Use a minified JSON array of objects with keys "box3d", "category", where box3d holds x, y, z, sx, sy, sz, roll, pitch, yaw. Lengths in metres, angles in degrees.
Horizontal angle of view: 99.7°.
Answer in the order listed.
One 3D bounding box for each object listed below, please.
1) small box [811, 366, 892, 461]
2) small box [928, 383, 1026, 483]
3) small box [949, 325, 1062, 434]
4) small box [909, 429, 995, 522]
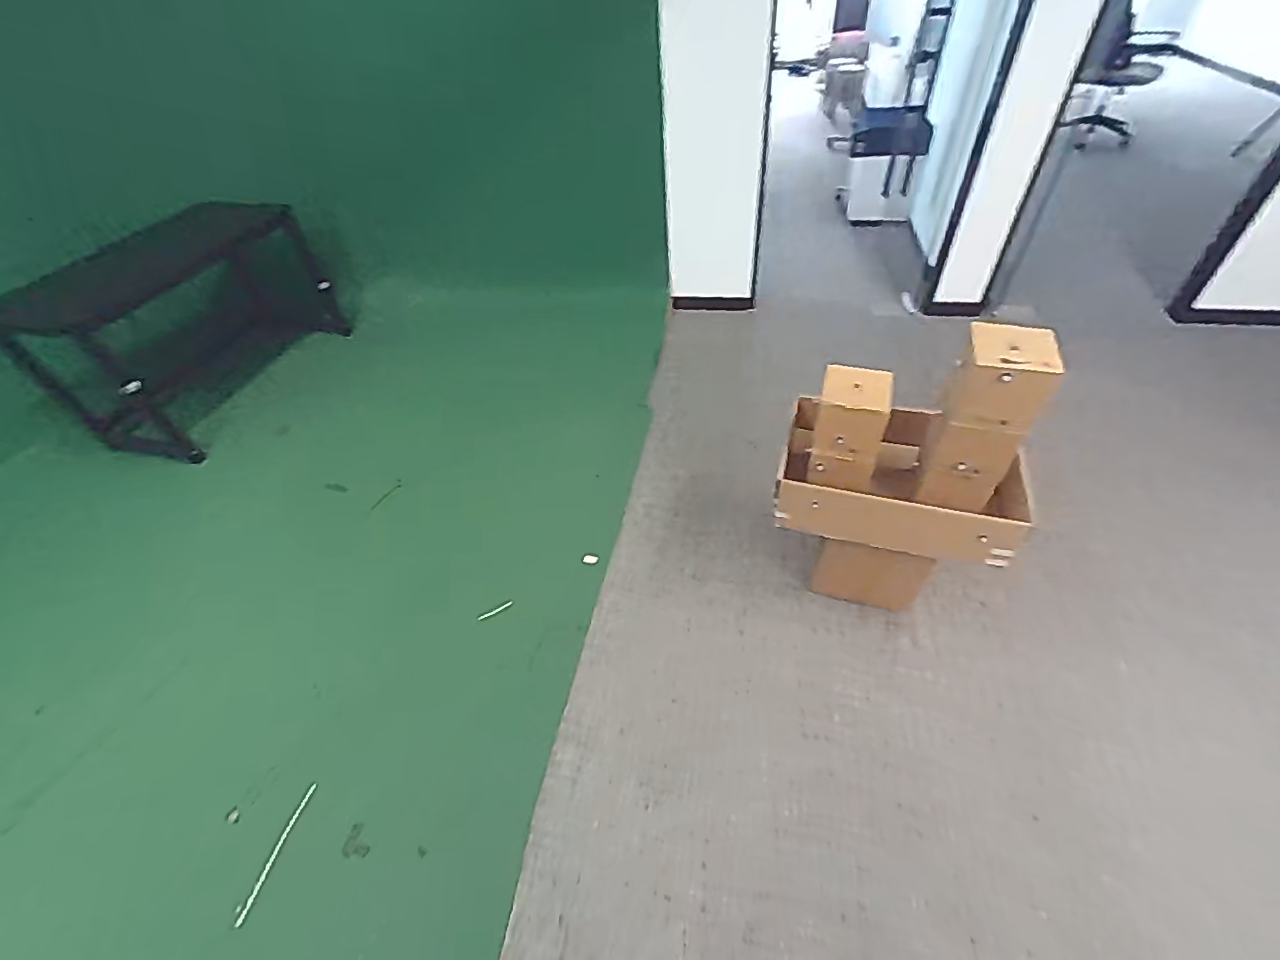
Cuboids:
[{"box3d":[0.565,-0.178,1.451,0.168,0.176,0.179,12,49,16],"category":"small box"},{"box3d":[0.840,-0.120,1.366,0.168,0.176,0.179,11,49,17],"category":"small box"},{"box3d":[0.830,-0.233,1.248,0.168,0.176,0.179,11,48,17],"category":"small box"},{"box3d":[0.853,-0.011,1.486,0.168,0.176,0.179,12,48,16],"category":"small box"}]
